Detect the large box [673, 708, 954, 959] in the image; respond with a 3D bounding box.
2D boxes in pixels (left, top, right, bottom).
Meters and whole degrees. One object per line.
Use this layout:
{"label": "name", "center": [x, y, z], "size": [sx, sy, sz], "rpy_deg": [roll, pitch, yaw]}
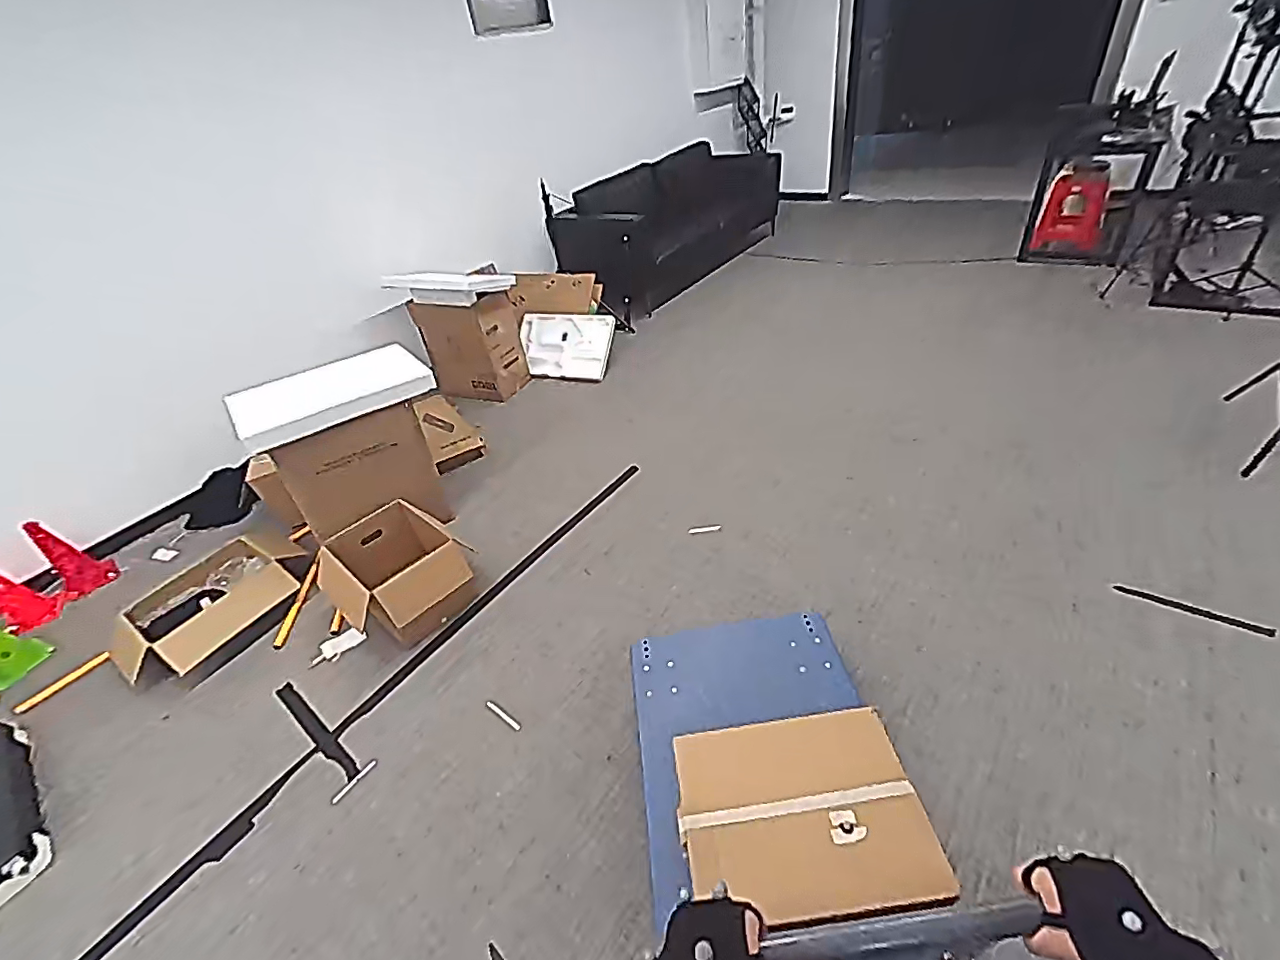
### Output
{"label": "large box", "center": [0.291, 0.691, 1.035], "size": [0.408, 0.320, 0.320], "rpy_deg": [-8, 38, -1]}
